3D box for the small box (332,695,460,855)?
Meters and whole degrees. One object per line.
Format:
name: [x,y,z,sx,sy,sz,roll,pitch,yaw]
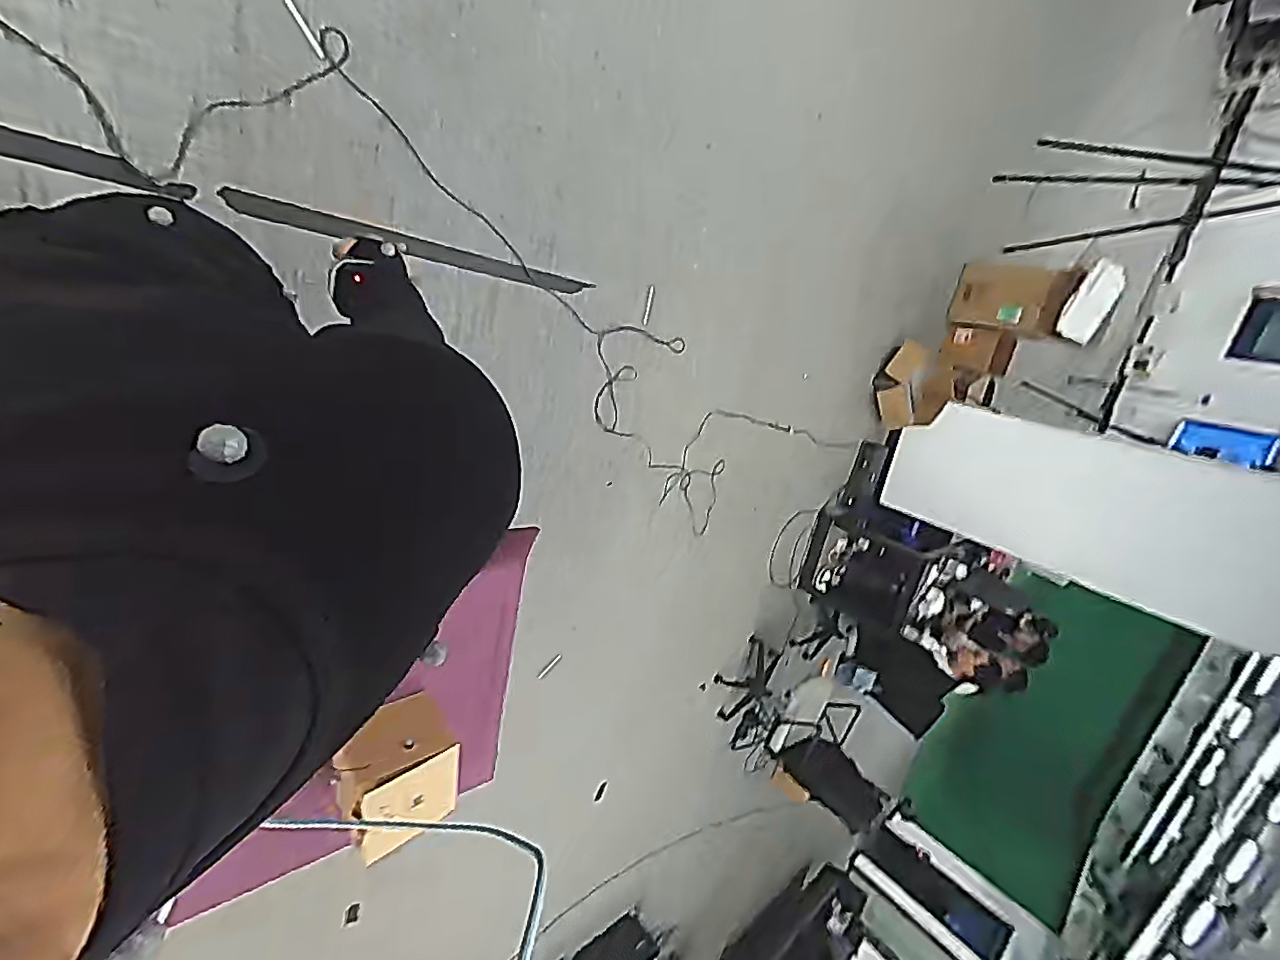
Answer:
small box: [-0.464,0.542,1.025,0.179,0.176,0.168,-8,115,-41]
